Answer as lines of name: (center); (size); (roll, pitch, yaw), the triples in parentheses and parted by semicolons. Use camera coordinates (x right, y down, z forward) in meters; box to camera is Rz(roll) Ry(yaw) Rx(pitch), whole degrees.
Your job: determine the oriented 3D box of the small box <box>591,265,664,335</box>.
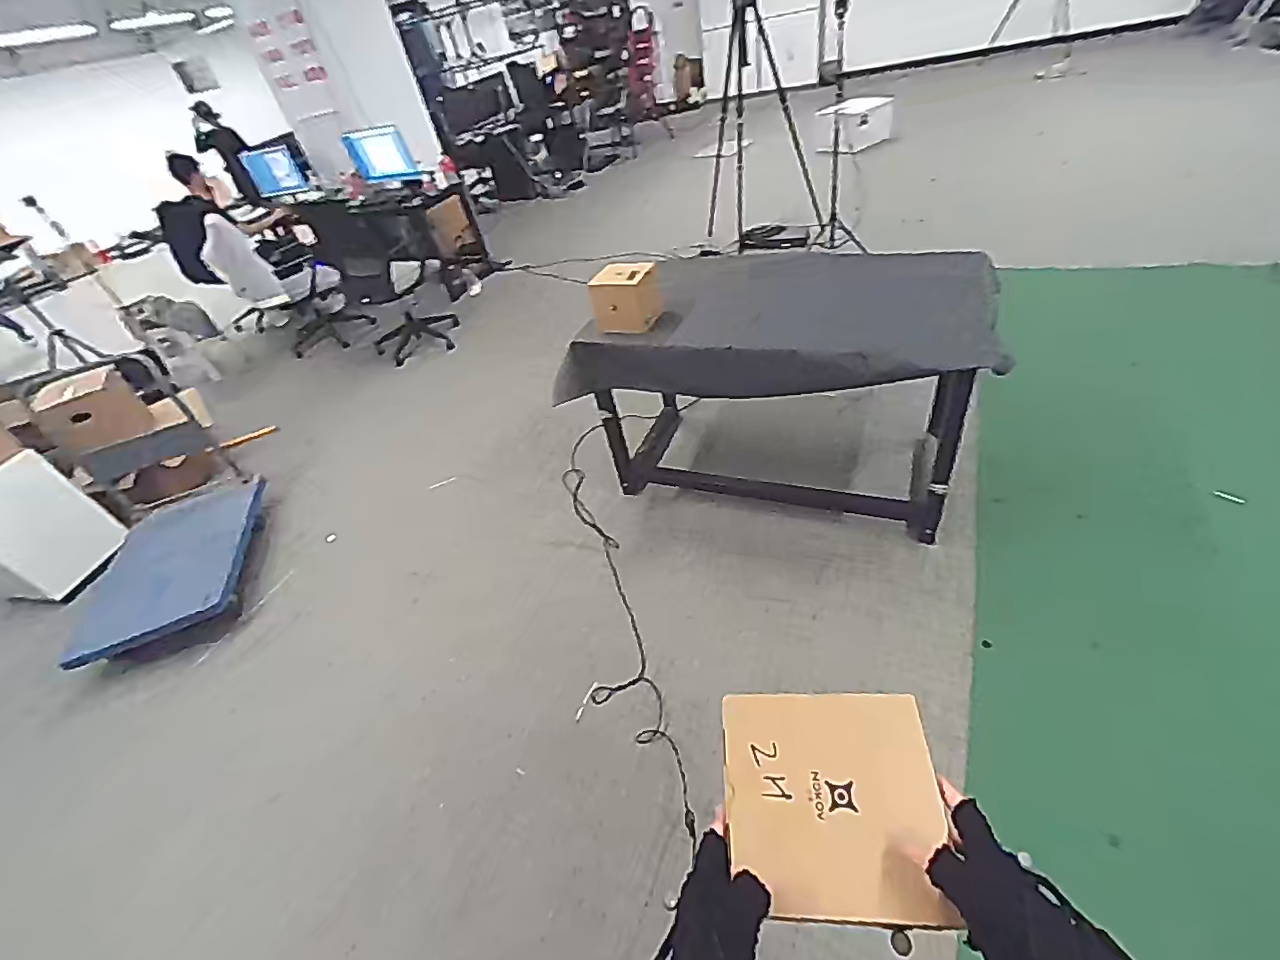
small box: (-0.034, -0.590, 1.779); (0.179, 0.176, 0.168); (9, 45, 25)
